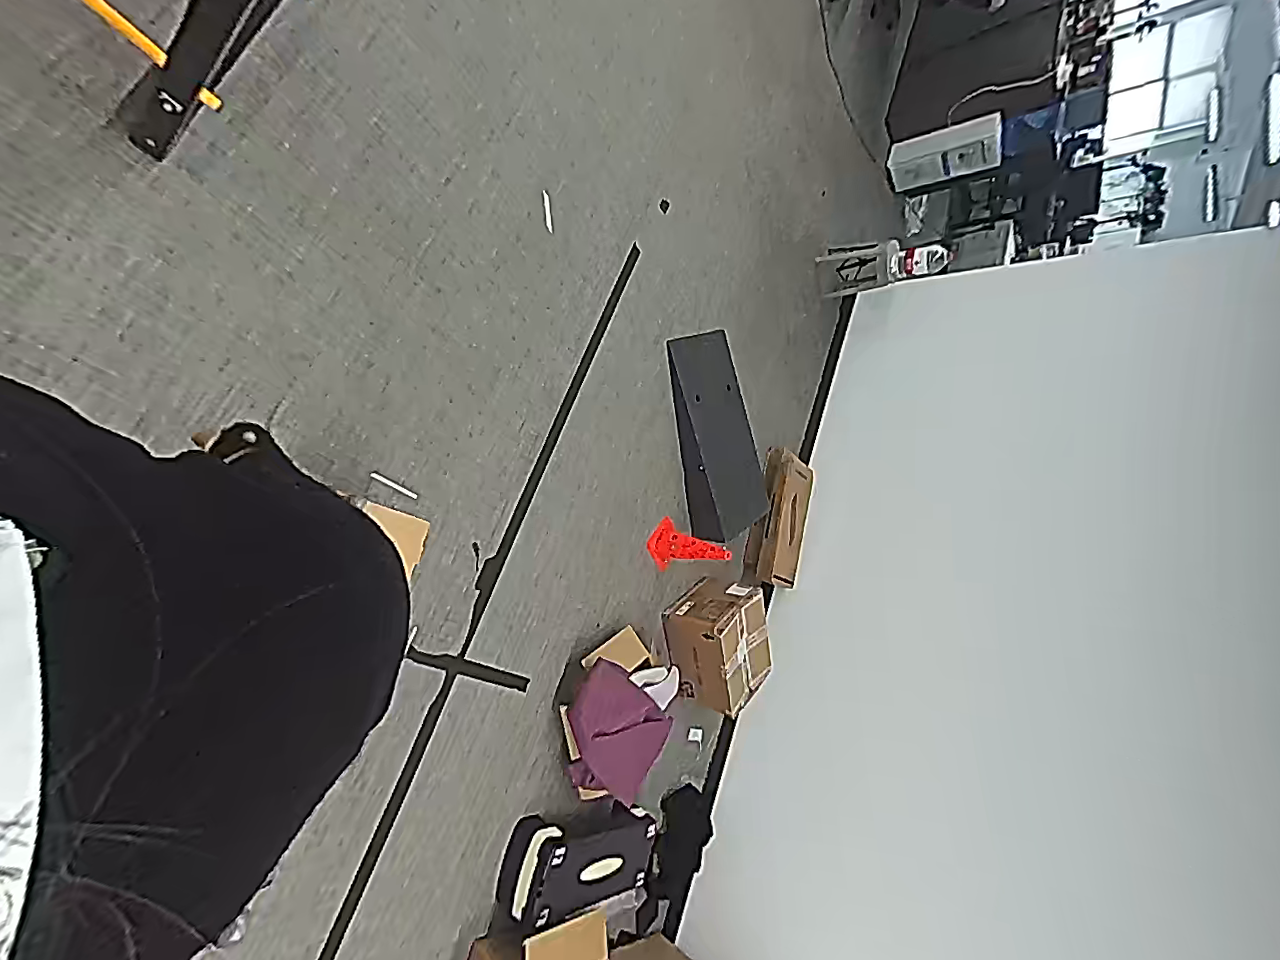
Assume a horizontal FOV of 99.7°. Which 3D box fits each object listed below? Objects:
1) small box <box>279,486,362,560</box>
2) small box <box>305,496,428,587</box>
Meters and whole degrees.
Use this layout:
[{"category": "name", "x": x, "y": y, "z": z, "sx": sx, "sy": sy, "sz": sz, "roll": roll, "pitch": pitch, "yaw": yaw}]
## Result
[{"category": "small box", "x": -0.771, "y": 0.124, "z": 1.364, "sx": 0.168, "sy": 0.176, "sz": 0.179, "roll": 35, "pitch": 68, "yaw": -46}, {"category": "small box", "x": -0.641, "y": 0.141, "z": 1.268, "sx": 0.179, "sy": 0.176, "sz": 0.168, "roll": 30, "pitch": 70, "yaw": -46}]
